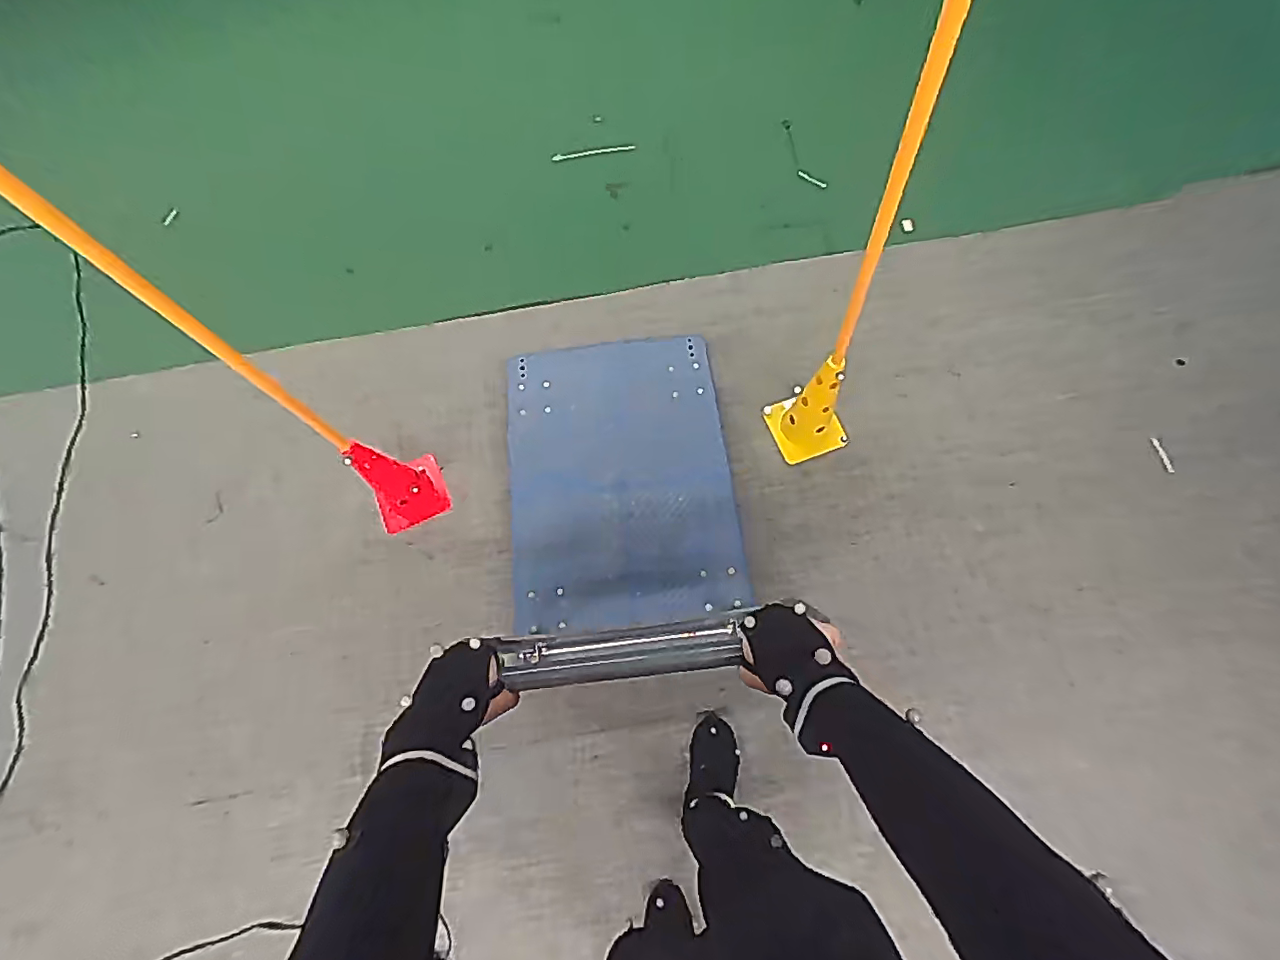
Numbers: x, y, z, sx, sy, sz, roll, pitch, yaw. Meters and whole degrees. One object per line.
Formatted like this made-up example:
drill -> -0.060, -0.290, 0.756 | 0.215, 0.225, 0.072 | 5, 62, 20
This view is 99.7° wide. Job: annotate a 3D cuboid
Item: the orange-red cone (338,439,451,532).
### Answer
orange-red cone -> -0.682, -0.020, 1.435 | 0.199, 0.360, 0.198 | -24, 70, -4
